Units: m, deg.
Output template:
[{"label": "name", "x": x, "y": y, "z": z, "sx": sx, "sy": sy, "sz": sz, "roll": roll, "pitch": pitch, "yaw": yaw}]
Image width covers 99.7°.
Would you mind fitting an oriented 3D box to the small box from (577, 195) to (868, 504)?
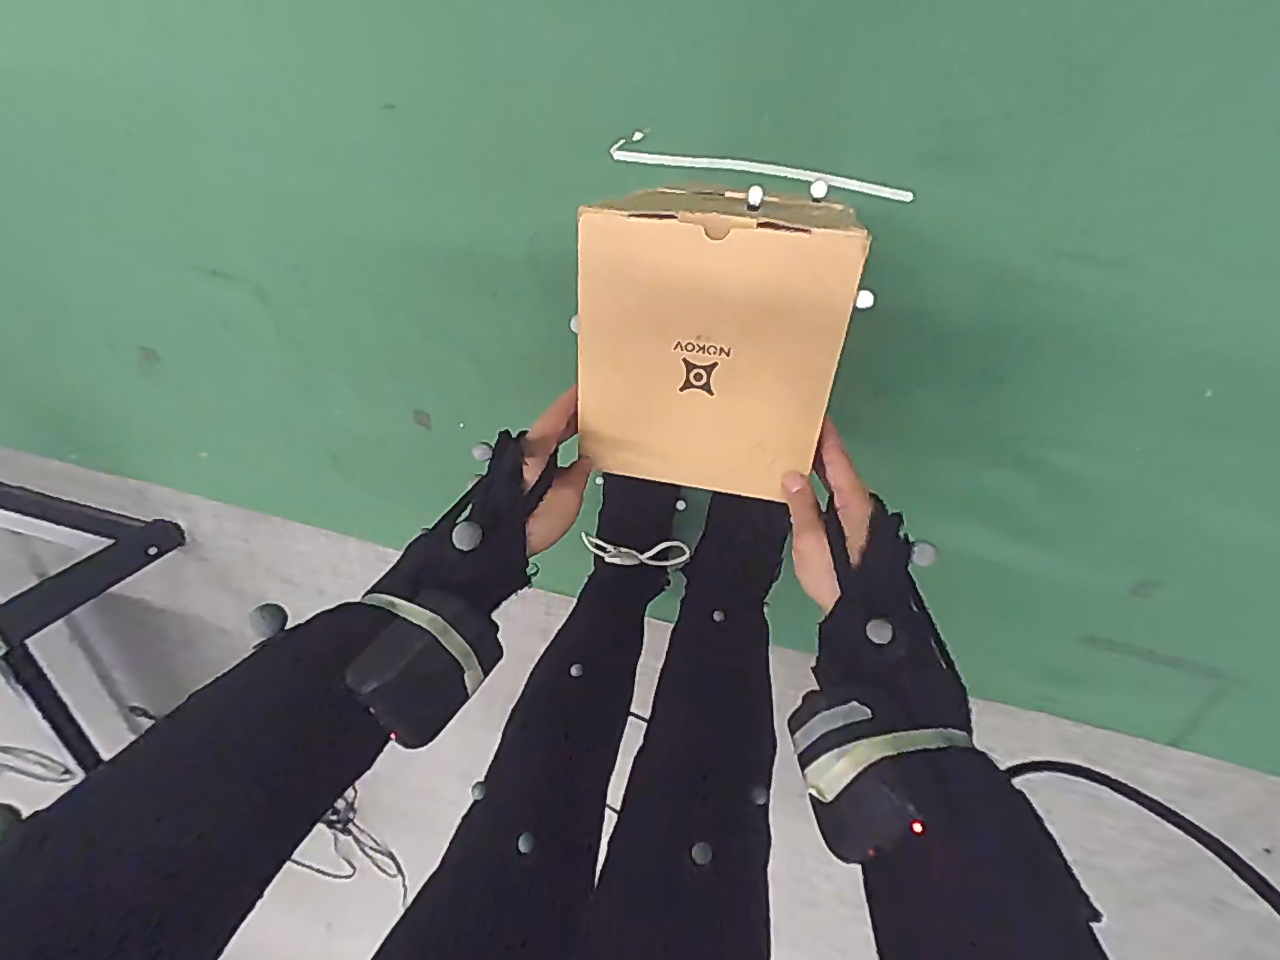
[{"label": "small box", "x": 0.058, "y": -0.109, "z": 0.411, "sx": 0.168, "sy": 0.176, "sz": 0.179, "roll": 10, "pitch": 121, "yaw": 9}]
